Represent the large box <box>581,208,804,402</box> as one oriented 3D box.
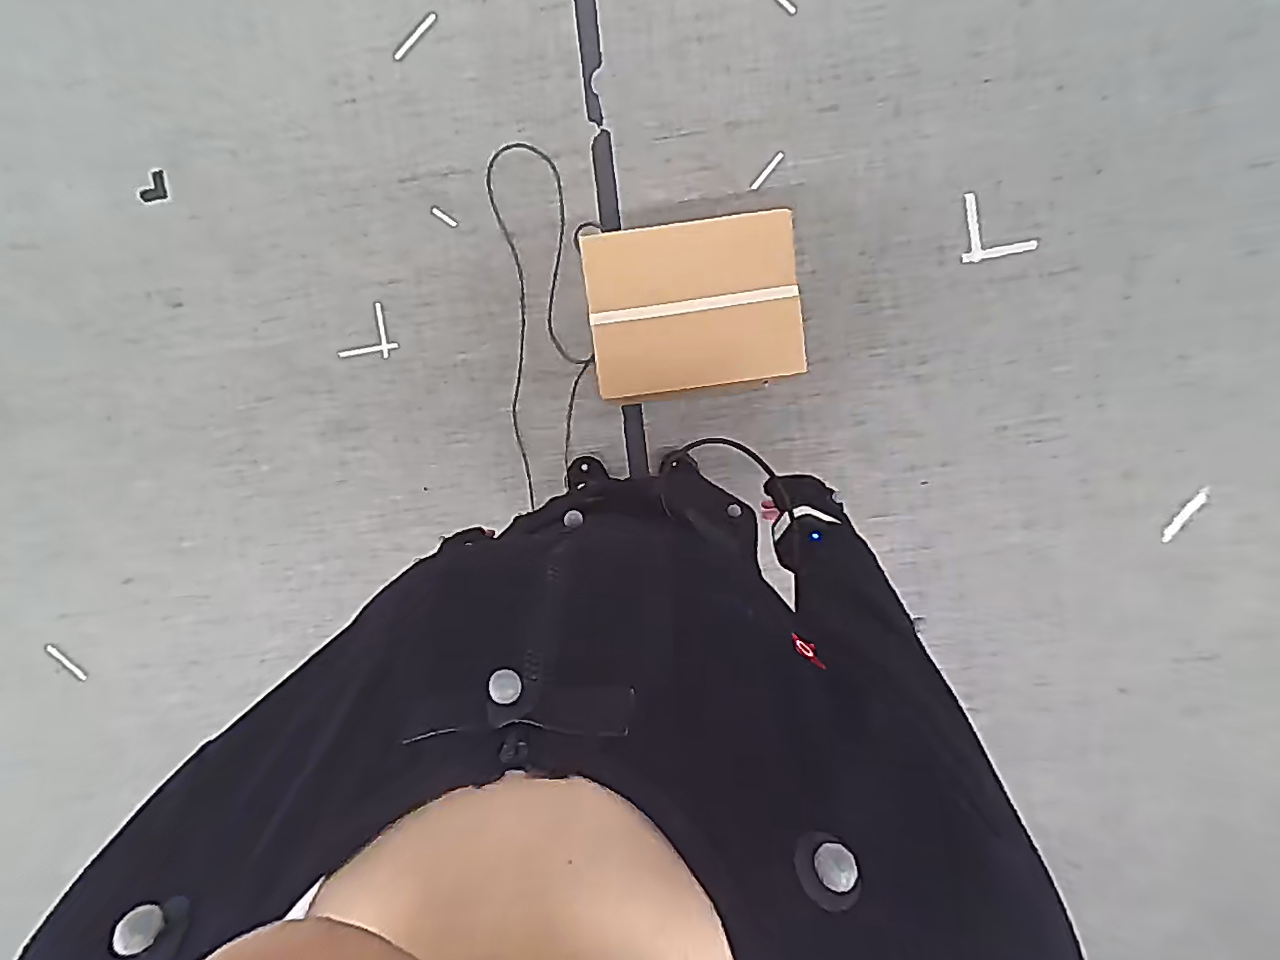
[{"bbox_3d":[0.107,-0.355,1.190,0.408,0.320,0.320,-7,95,2],"label":"large box"}]
